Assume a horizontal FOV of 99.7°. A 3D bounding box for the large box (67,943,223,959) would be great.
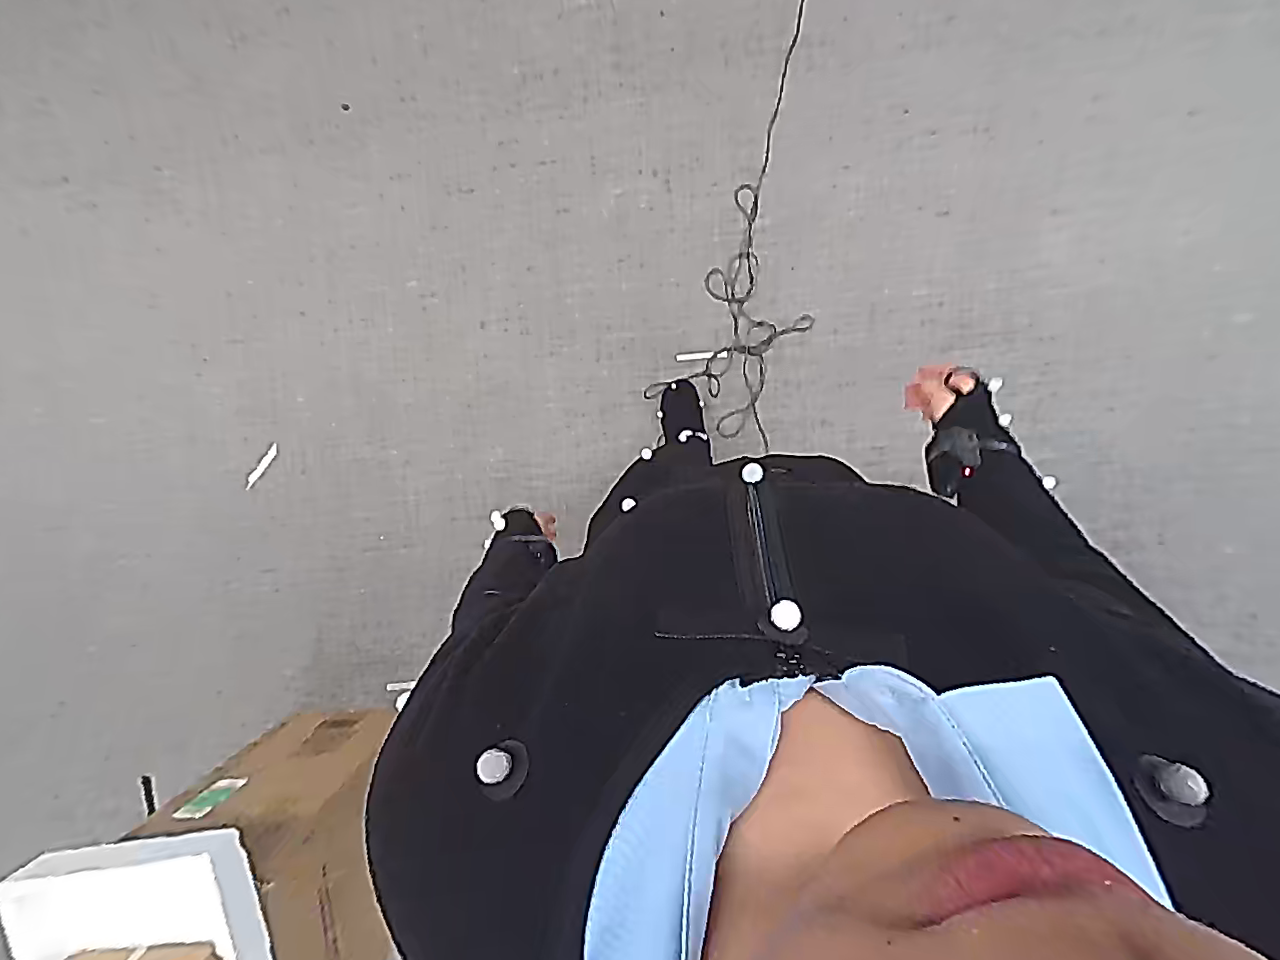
[{"bbox_3d":[-0.888,1.067,0.864,0.320,0.320,0.408,-8,96,6],"label":"large box"}]
